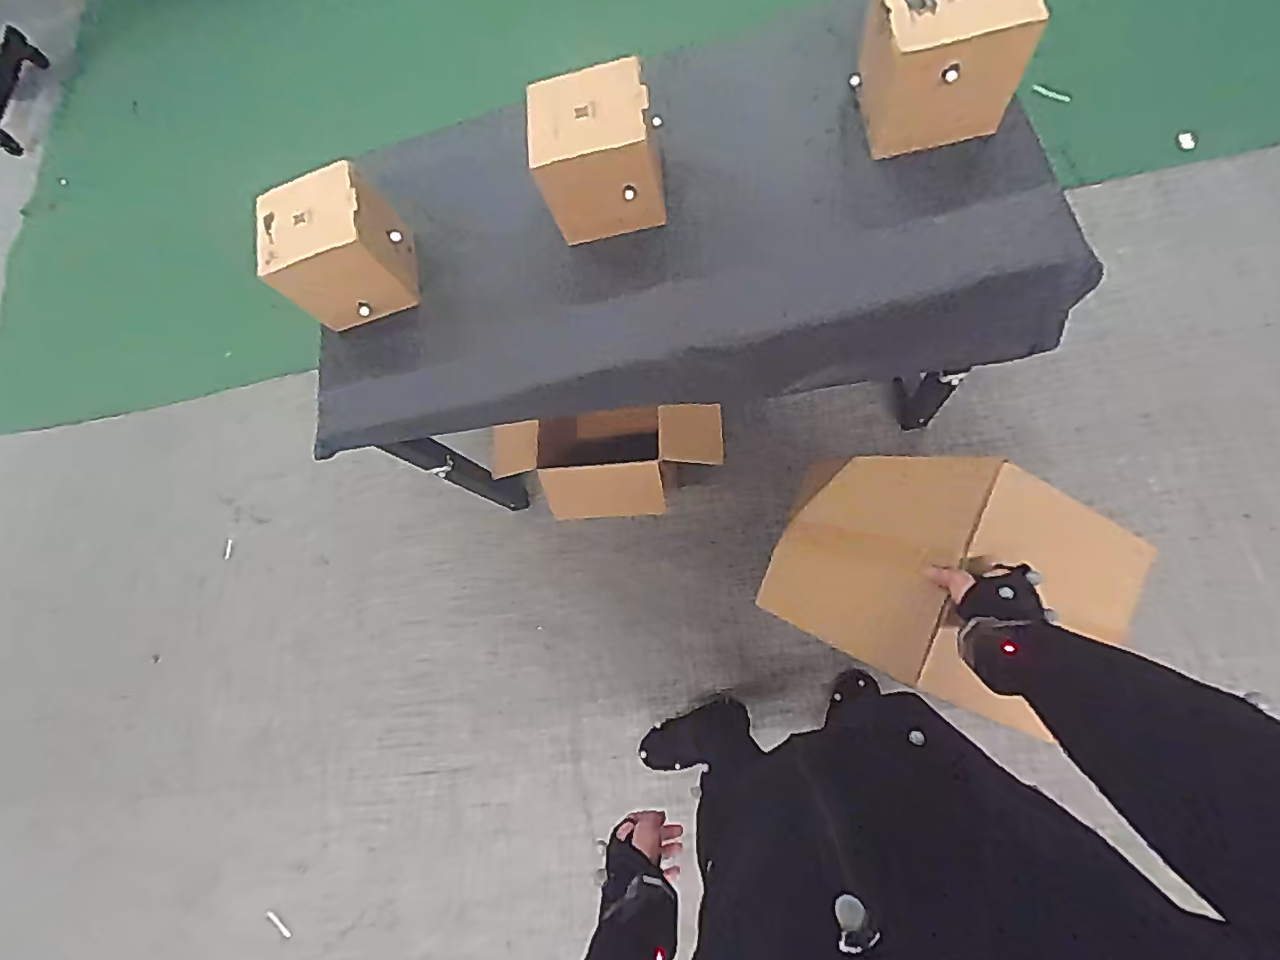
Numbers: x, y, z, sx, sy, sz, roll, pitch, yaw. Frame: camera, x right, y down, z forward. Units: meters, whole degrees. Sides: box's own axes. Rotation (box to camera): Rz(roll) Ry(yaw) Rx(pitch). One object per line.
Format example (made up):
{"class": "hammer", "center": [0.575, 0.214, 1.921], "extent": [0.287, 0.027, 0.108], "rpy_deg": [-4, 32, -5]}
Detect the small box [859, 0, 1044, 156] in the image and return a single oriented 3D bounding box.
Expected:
{"class": "small box", "center": [0.423, -0.604, 0.774], "extent": [0.179, 0.176, 0.168], "rpy_deg": [-7, 73, 10]}

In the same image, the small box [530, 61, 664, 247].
{"class": "small box", "center": [-0.061, -0.506, 0.862], "extent": [0.179, 0.176, 0.168], "rpy_deg": [-9, 71, 12]}

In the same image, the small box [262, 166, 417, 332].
{"class": "small box", "center": [-0.502, -0.384, 0.925], "extent": [0.179, 0.176, 0.168], "rpy_deg": [-16, 71, 7]}
